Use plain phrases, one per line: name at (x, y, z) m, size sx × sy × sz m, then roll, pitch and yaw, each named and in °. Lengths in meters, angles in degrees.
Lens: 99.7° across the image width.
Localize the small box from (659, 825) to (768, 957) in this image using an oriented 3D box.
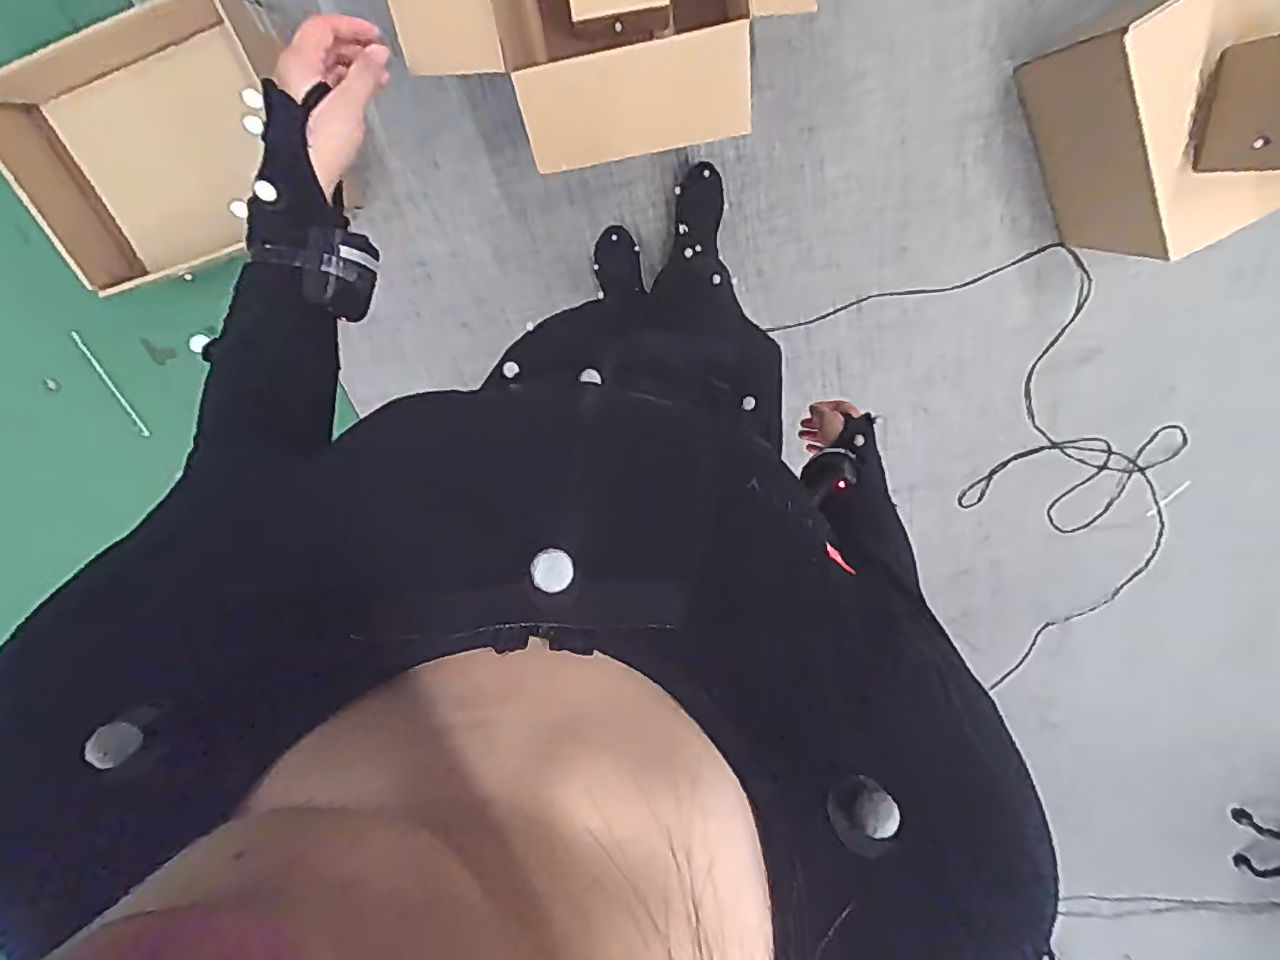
small box at (0.153, 0.885, 1.171) m, size 0.179 × 0.176 × 0.168 m, roll -26°, pitch 114°, yaw 17°
